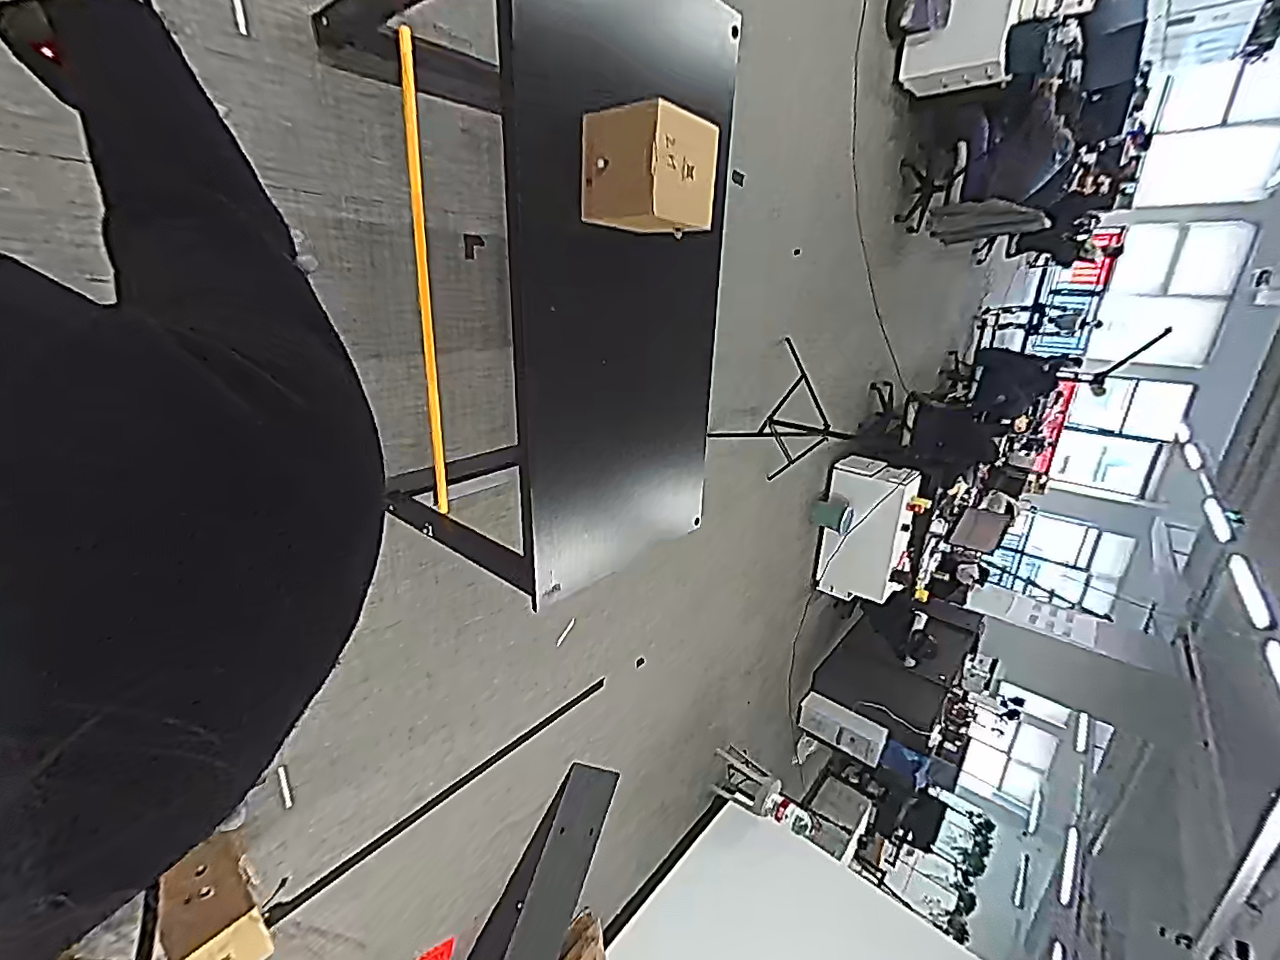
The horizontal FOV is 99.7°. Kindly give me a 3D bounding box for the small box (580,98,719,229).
[{"bbox_3d":[0.016,-0.545,0.958,0.179,0.176,0.168,-18,117,-47],"label":"small box"}]

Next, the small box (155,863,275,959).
[{"bbox_3d":[-1.002,1.067,1.278,0.168,0.176,0.179,-25,121,-45],"label":"small box"}]

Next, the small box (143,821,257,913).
[{"bbox_3d":[-1.122,1.029,1.381,0.179,0.176,0.168,-21,120,-45],"label":"small box"}]

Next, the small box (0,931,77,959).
[{"bbox_3d":[-1.334,1.134,1.165,0.168,0.176,0.179,-19,118,-46],"label":"small box"}]
